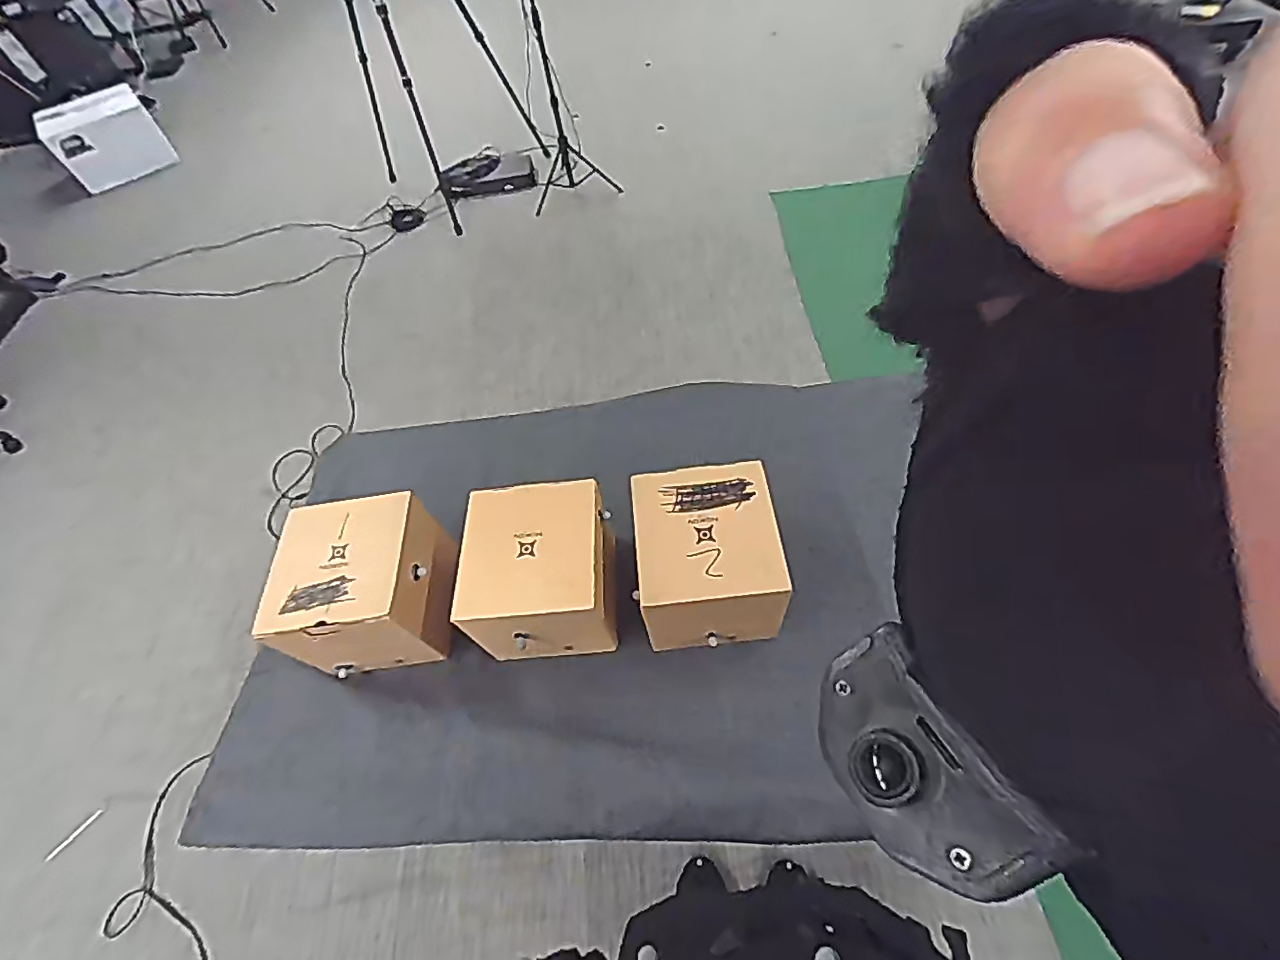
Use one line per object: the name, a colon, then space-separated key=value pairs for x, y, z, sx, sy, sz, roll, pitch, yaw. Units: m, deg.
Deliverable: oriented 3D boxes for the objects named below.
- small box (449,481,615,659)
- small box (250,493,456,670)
small box: x=-0.125 y=0.125 z=0.703 sx=0.168 sy=0.176 sz=0.179 roll=-6 pitch=55 yaw=4
small box: x=-0.360 y=0.143 z=0.720 sx=0.168 sy=0.176 sz=0.179 roll=-9 pitch=54 yaw=2
